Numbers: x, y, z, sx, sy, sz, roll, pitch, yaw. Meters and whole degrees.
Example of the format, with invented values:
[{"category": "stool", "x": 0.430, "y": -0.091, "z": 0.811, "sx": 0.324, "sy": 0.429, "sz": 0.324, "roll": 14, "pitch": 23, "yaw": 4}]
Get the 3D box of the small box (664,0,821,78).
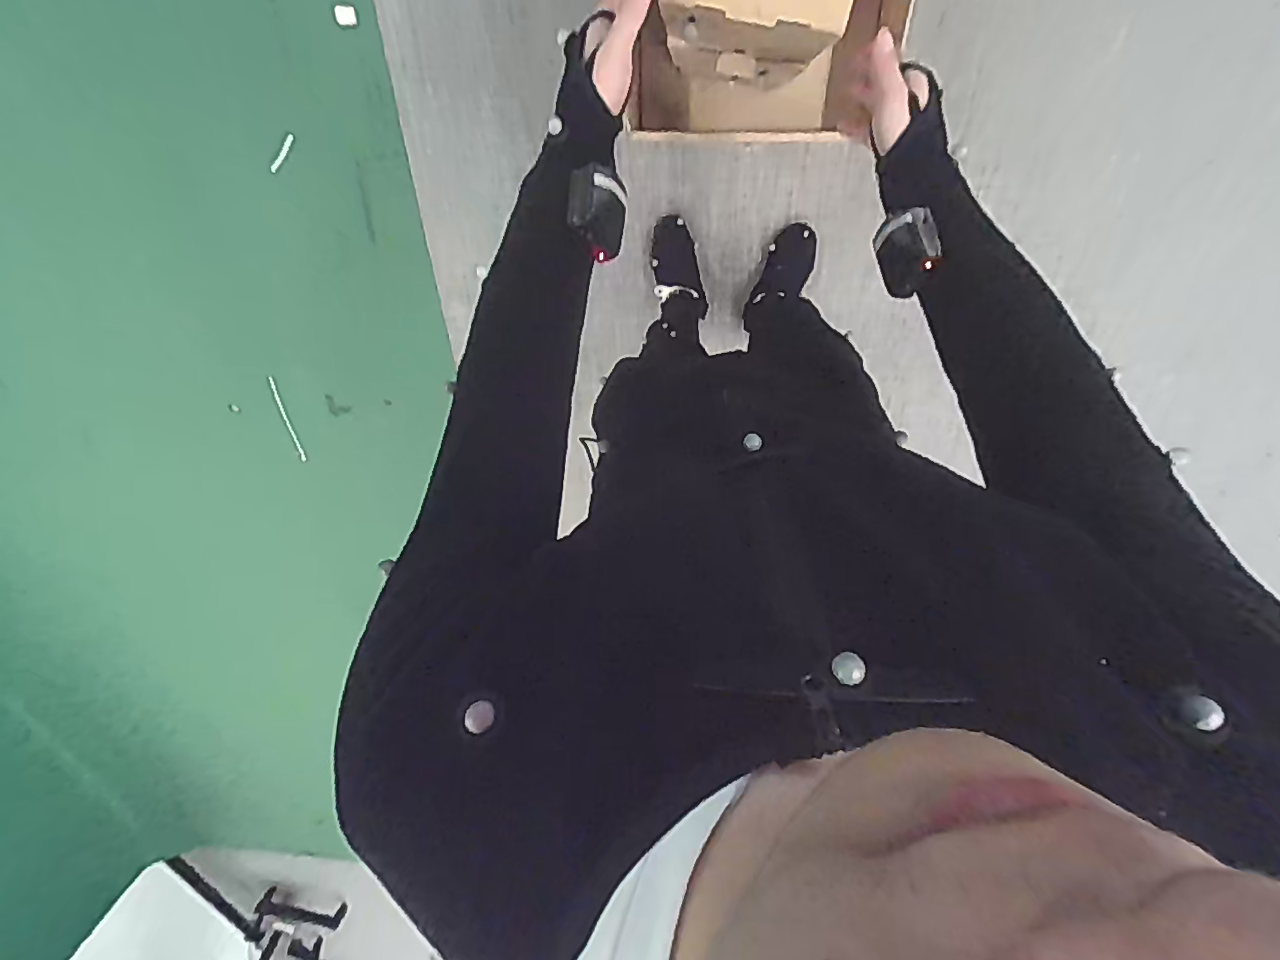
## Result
[{"category": "small box", "x": 0.129, "y": -0.594, "z": 0.631, "sx": 0.168, "sy": 0.176, "sz": 0.179, "roll": 11, "pitch": 121, "yaw": 0}]
